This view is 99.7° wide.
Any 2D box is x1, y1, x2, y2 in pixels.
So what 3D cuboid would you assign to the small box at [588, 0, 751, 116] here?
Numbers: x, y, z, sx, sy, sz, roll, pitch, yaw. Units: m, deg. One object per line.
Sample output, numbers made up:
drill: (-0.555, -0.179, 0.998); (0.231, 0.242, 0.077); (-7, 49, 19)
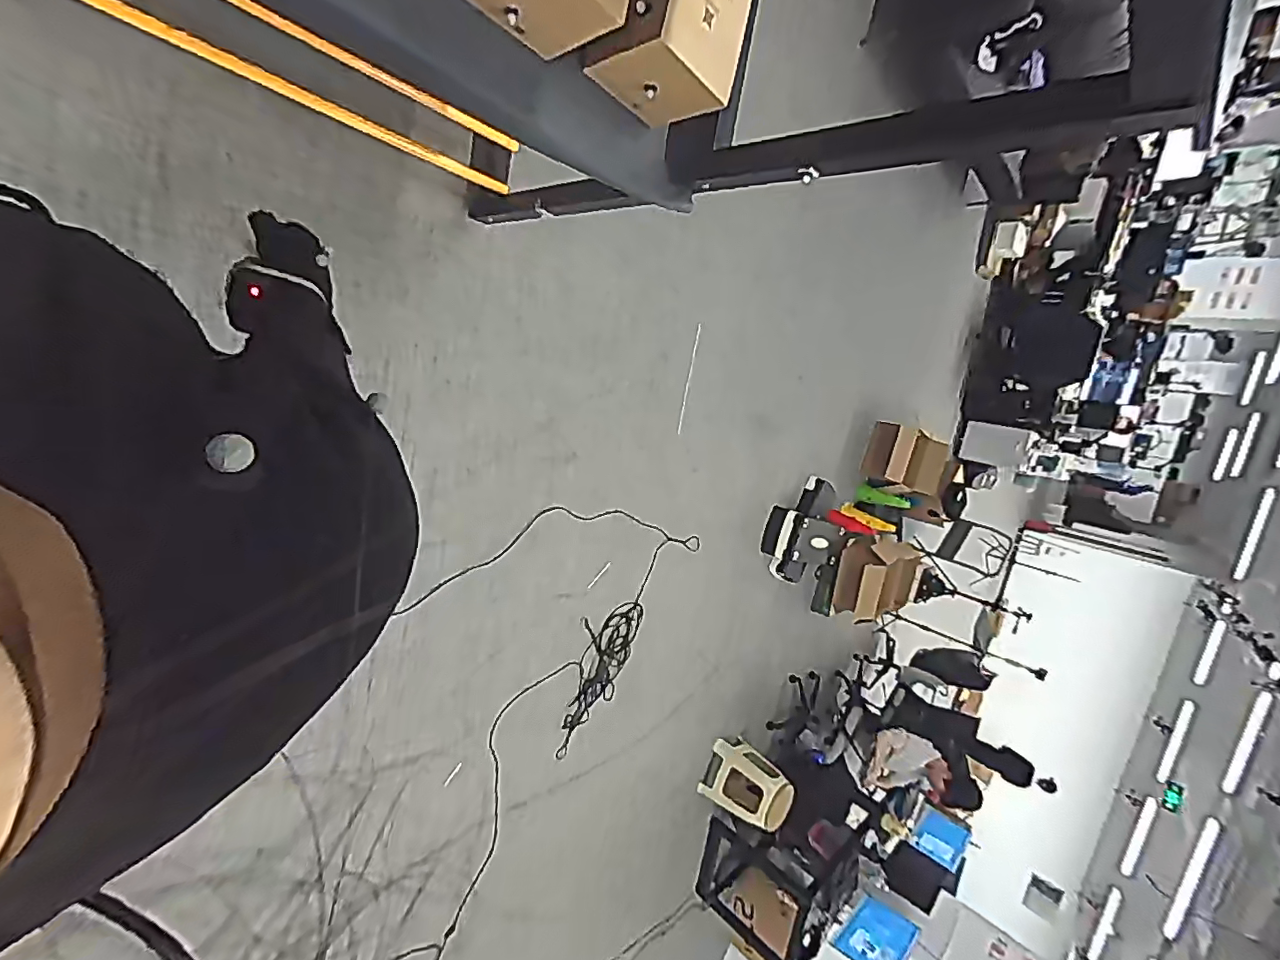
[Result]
small box: (0.041, -0.700, 0.829); (0.168, 0.176, 0.179); (6, 100, -48)
